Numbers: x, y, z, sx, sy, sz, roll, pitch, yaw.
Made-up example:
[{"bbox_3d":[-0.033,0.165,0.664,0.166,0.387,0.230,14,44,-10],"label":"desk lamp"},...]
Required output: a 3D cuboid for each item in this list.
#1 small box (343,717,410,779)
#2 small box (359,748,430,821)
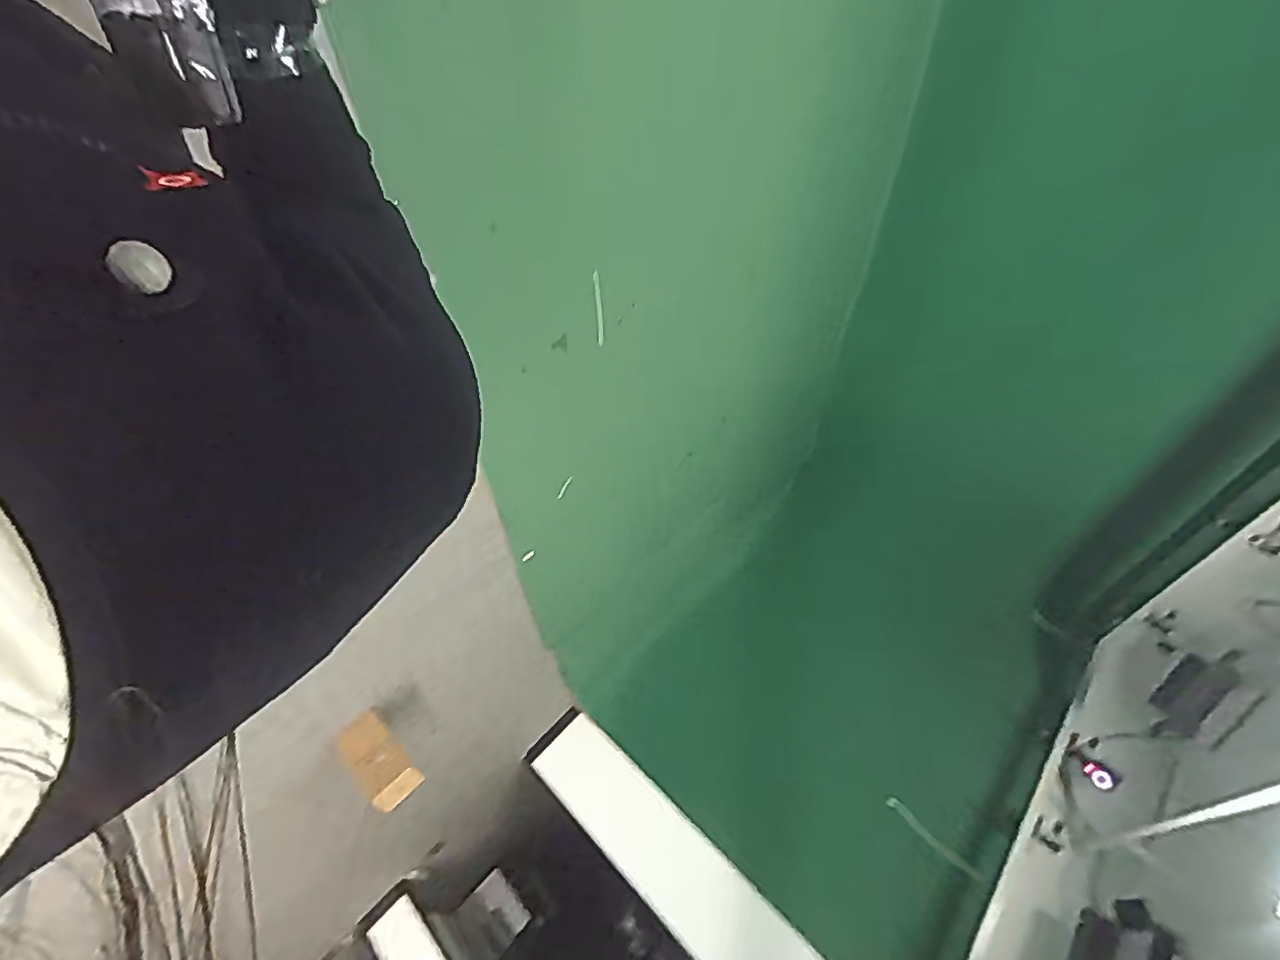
[{"bbox_3d":[-1.091,1.124,2.226,0.179,0.176,0.168,-37,145,-30],"label":"small box"},{"bbox_3d":[-0.974,1.204,2.145,0.168,0.176,0.179,-40,145,-30],"label":"small box"}]
